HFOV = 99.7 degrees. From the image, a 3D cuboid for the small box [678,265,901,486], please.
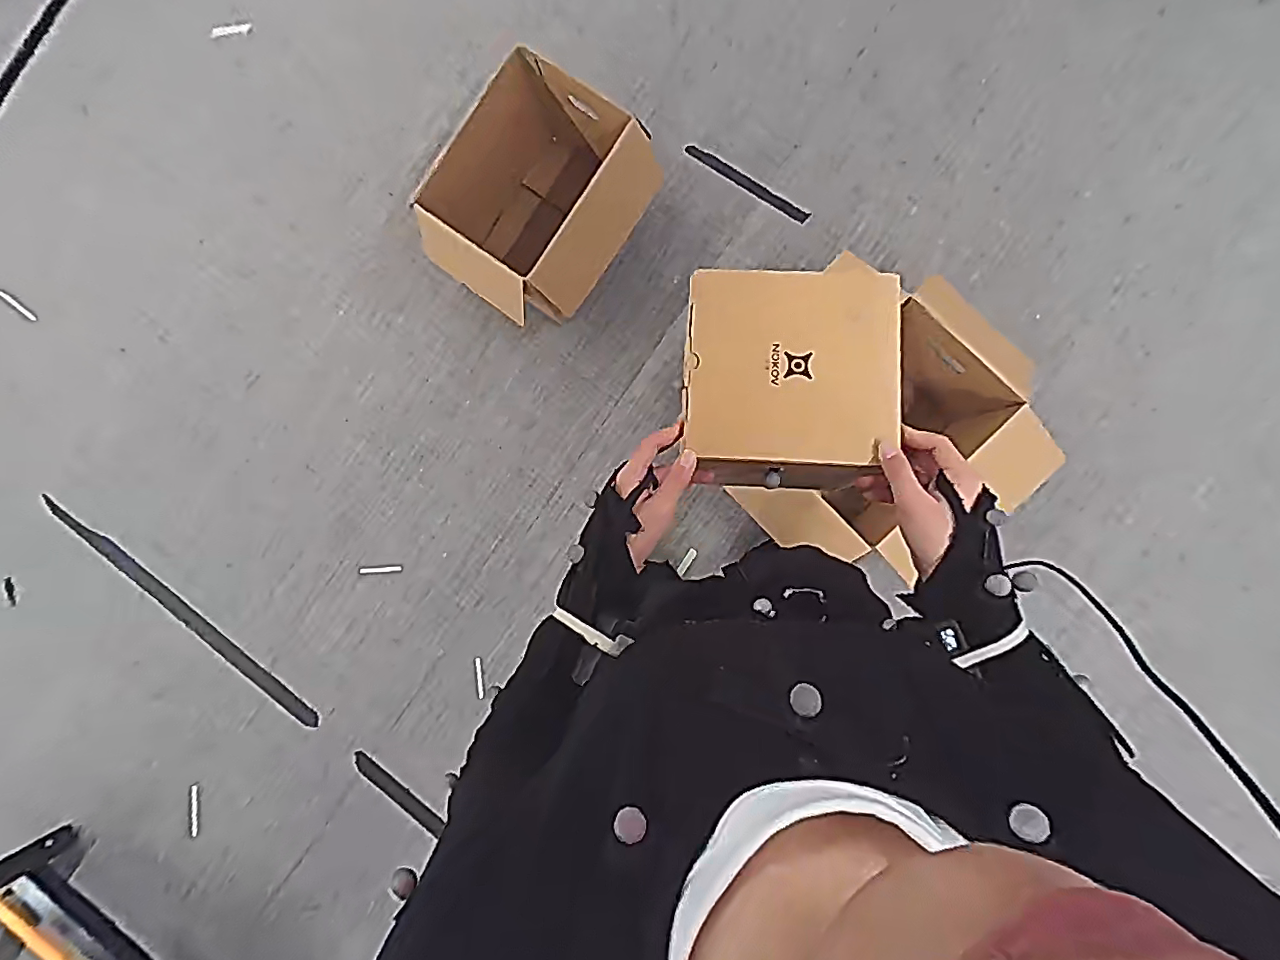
[{"bbox_3d":[0.129,-0.087,0.521,0.179,0.176,0.168,3,83,4],"label":"small box"}]
